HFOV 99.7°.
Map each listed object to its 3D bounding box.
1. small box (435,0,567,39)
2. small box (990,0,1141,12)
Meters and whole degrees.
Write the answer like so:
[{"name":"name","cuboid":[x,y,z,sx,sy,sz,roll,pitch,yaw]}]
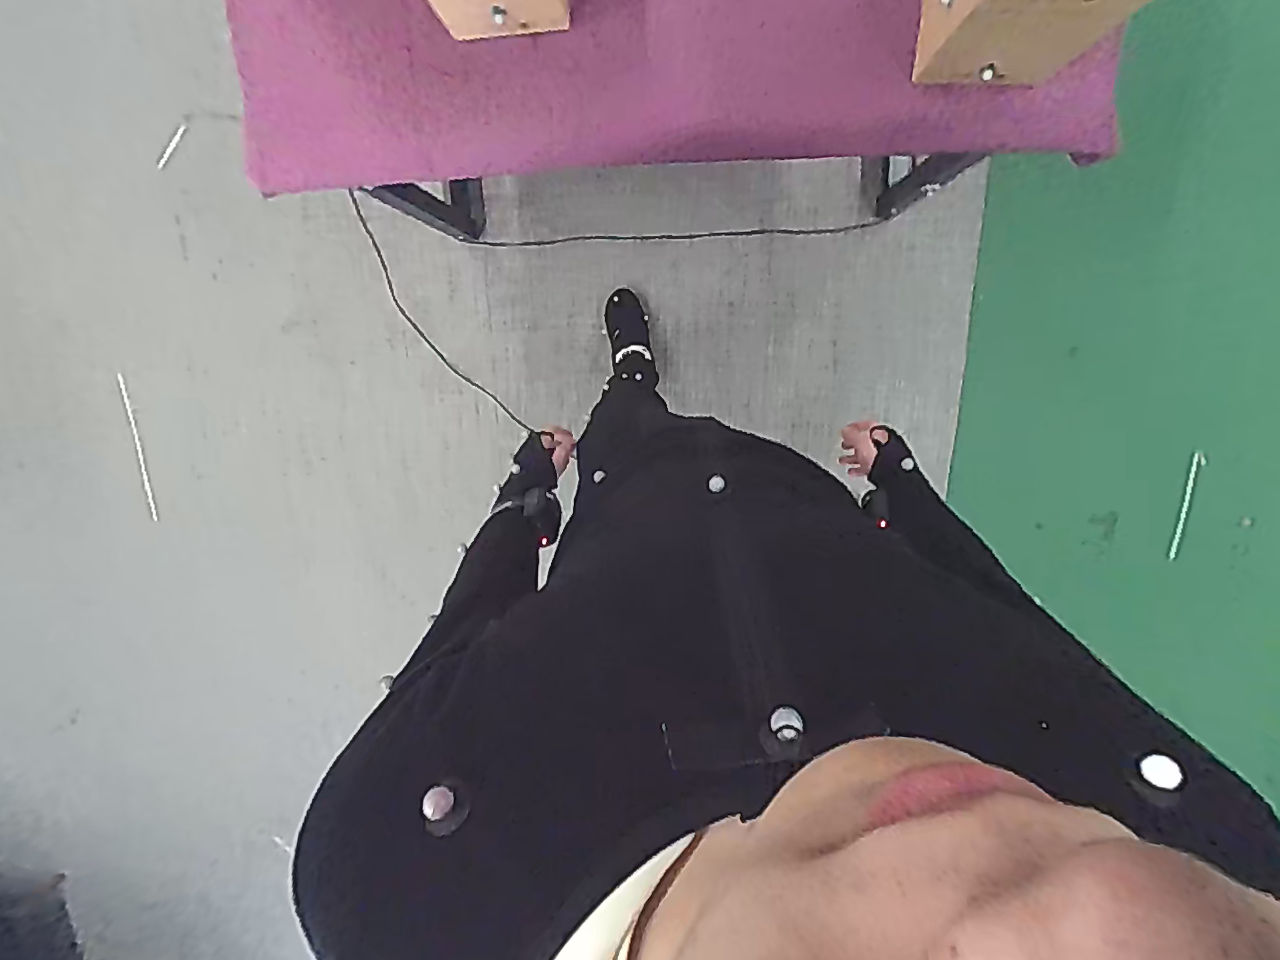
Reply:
[{"name":"small box","cuboid":[-0.189,-0.684,0.652,0.168,0.176,0.179,-2,103,5]},{"name":"small box","cuboid":[0.428,-0.556,0.463,0.168,0.176,0.179,4,102,5]}]
